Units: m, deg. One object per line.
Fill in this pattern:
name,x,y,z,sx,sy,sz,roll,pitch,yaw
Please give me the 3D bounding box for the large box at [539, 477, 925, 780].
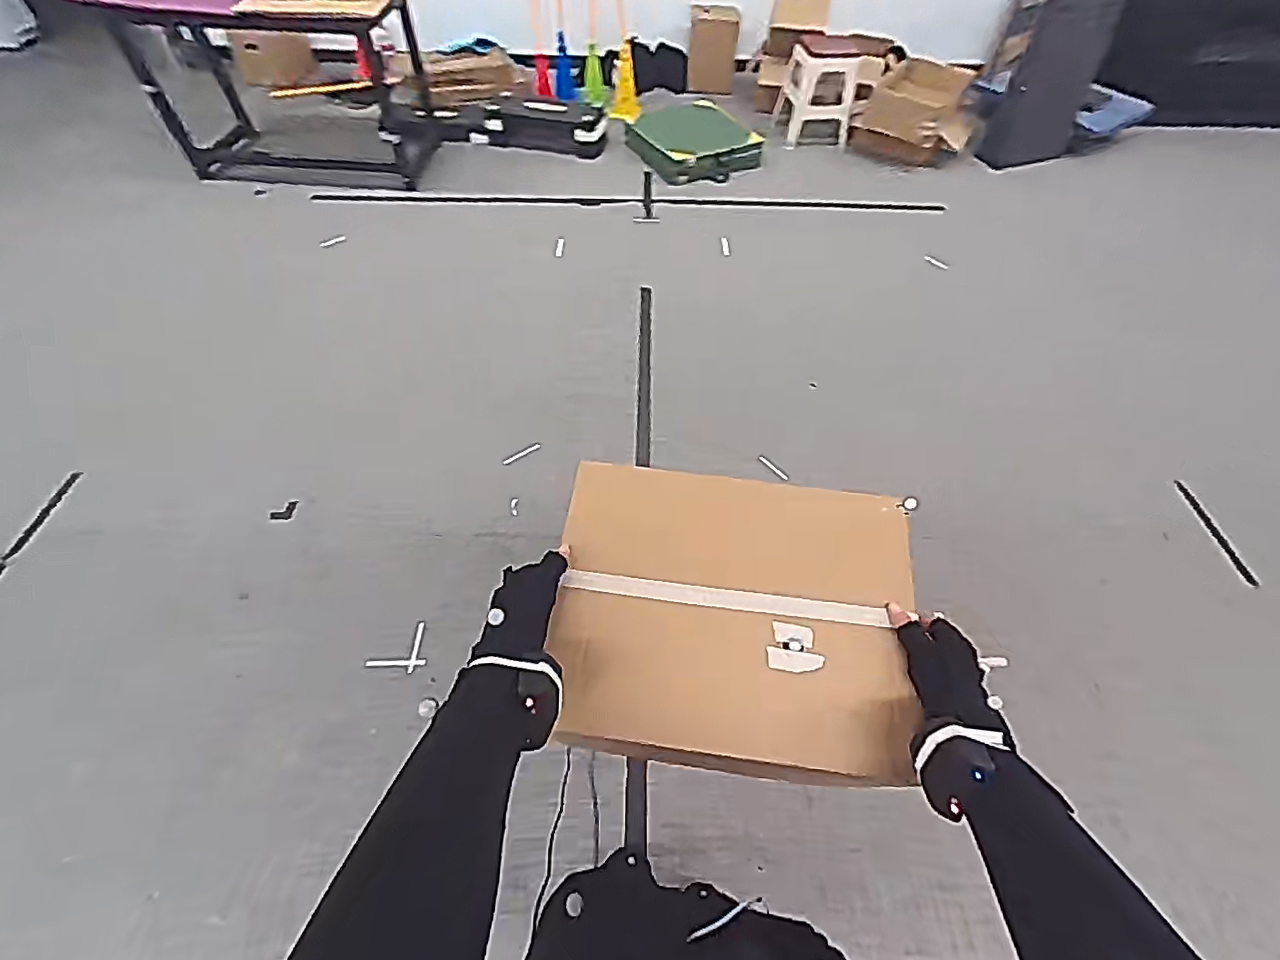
large box,0.102,0.219,0.750,0.408,0.320,0.320,6,61,2
